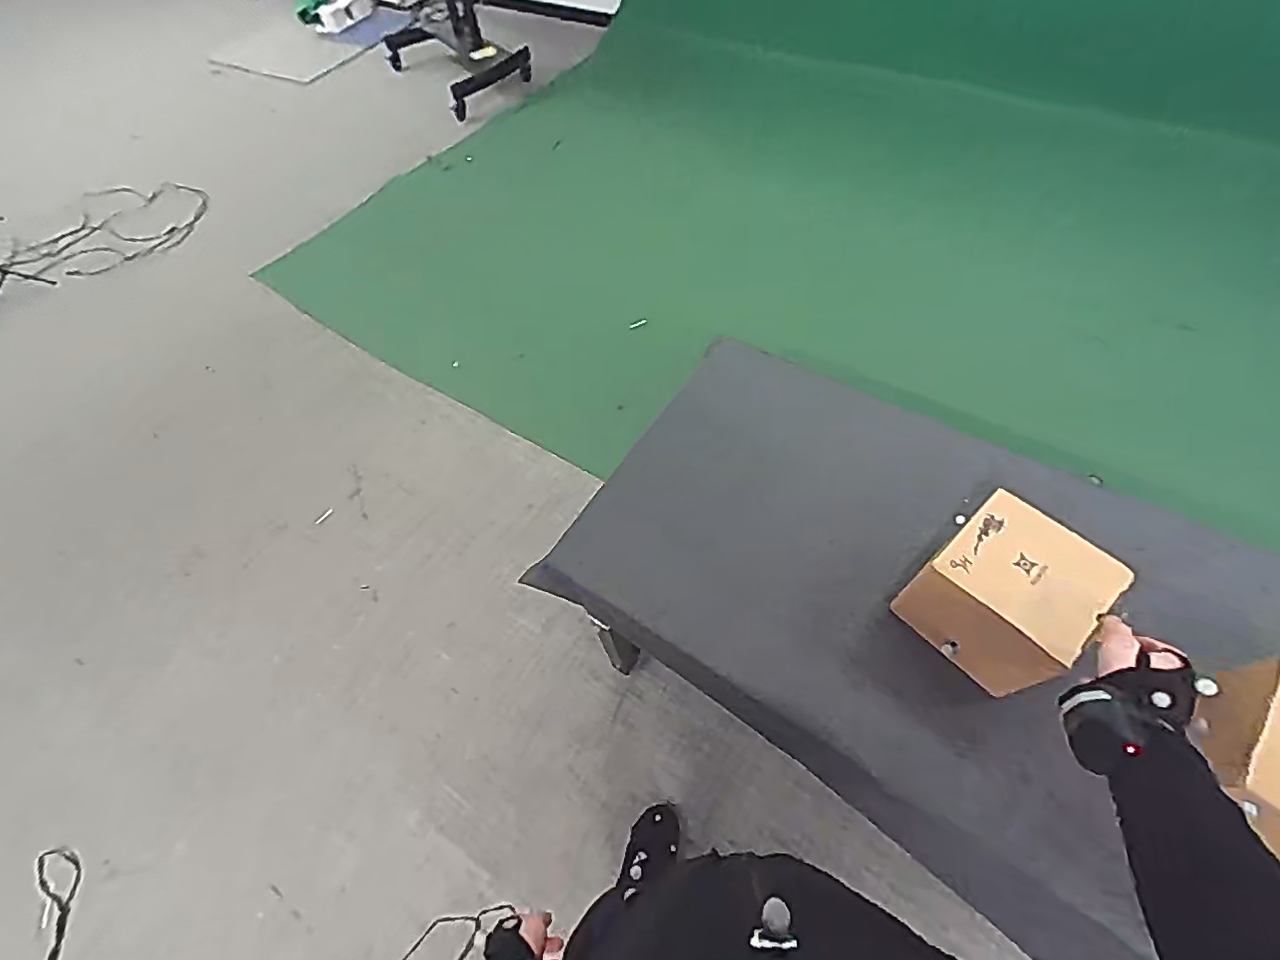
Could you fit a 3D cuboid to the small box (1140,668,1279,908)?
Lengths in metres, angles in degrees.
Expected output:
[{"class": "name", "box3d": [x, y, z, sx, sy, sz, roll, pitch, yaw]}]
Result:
[{"class": "small box", "box3d": [0.711, 0.343, 0.591, 0.168, 0.176, 0.179, 37, 66, 23]}]

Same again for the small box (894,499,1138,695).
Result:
[{"class": "small box", "box3d": [0.485, 0.165, 0.726, 0.168, 0.176, 0.179, -37, 62, -19]}]
